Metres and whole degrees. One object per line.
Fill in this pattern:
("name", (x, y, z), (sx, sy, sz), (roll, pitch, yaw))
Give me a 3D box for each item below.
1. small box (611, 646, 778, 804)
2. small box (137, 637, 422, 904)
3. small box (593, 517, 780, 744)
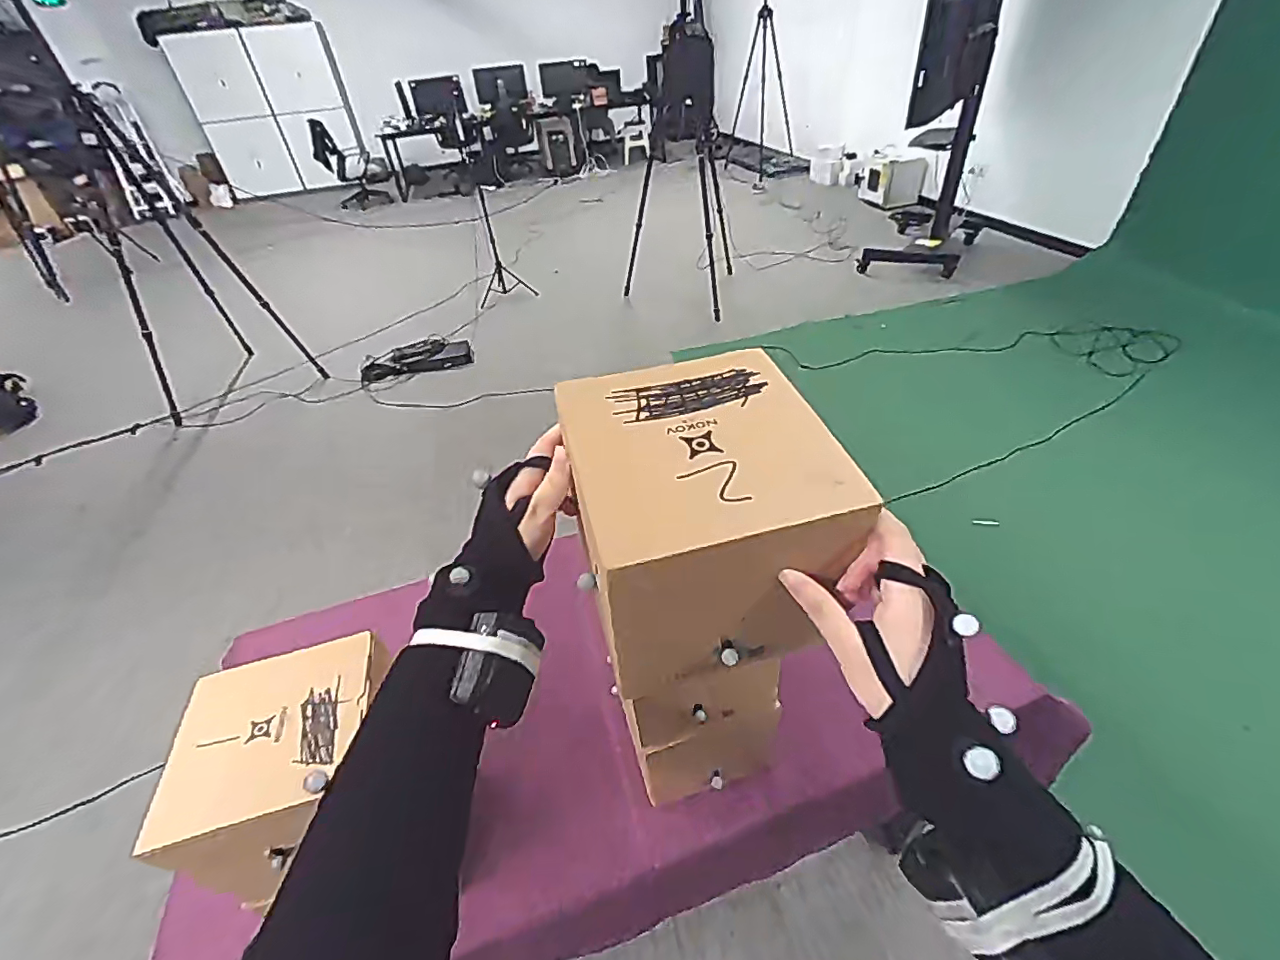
("small box", (0.068, 0.308, 0.745), (0.179, 0.176, 0.168), (-14, 40, -10))
("small box", (-0.338, 0.297, 0.558), (0.179, 0.176, 0.168), (-15, 41, -9))
("small box", (0.048, 0.178, 0.648), (0.168, 0.176, 0.179), (-15, 42, -9))
